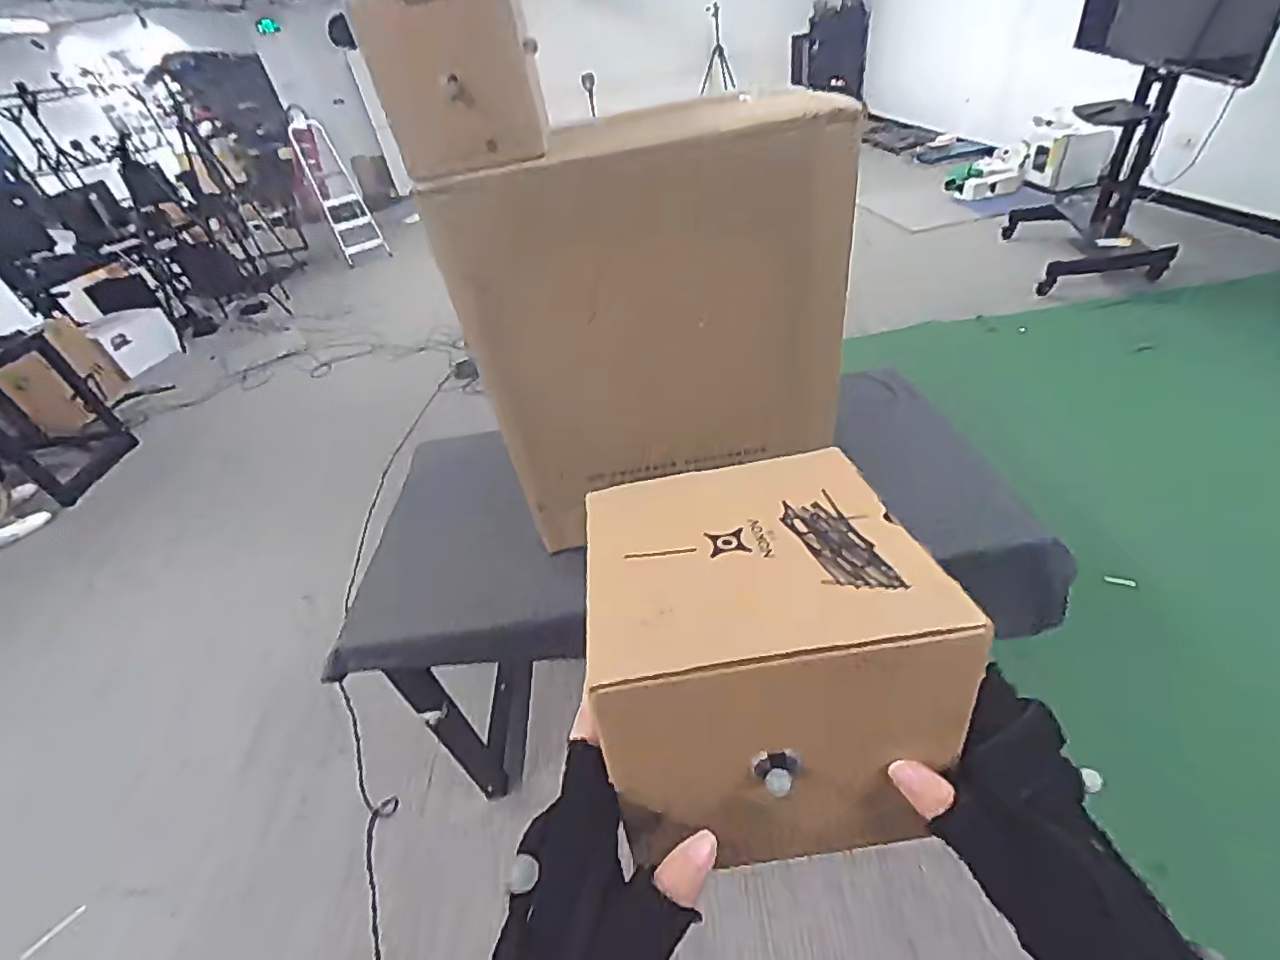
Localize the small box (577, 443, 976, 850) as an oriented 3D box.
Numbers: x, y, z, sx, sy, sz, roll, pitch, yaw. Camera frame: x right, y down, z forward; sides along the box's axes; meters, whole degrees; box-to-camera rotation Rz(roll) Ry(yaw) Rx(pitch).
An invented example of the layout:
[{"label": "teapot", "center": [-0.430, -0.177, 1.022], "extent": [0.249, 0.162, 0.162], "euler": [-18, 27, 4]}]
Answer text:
[{"label": "small box", "center": [0.065, 0.097, 0.339], "extent": [0.179, 0.176, 0.168], "euler": [-8, 30, 2]}]

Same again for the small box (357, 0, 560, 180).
[{"label": "small box", "center": [-0.196, -0.476, 0.646], "extent": [0.168, 0.176, 0.179], "euler": [-9, 41, 2]}]
